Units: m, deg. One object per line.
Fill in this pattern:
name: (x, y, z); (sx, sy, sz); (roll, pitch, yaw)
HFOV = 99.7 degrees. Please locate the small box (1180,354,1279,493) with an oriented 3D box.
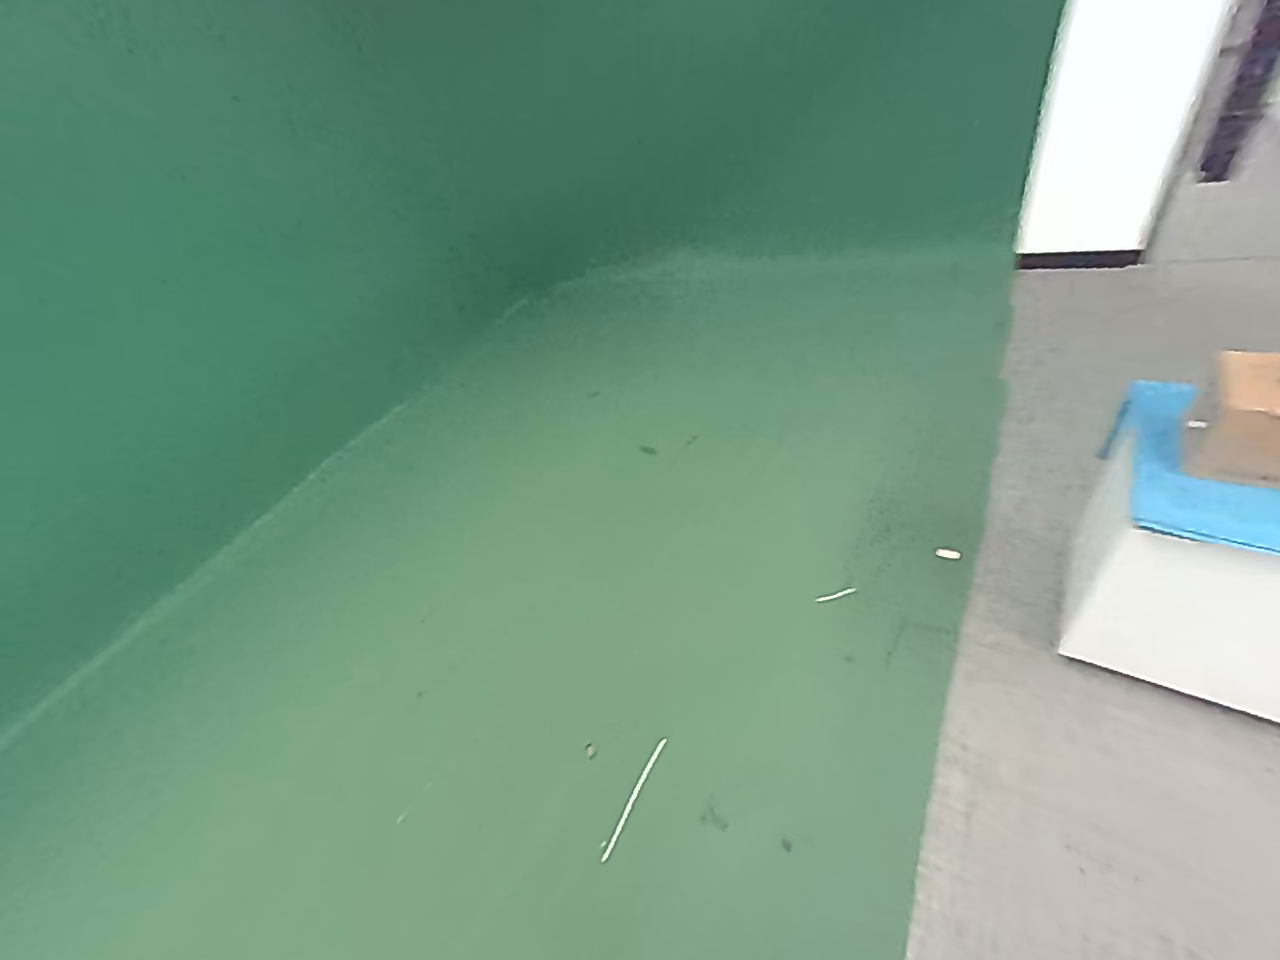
small box: (1.102, -0.099, 0.957); (0.168, 0.176, 0.179); (15, 51, 31)
